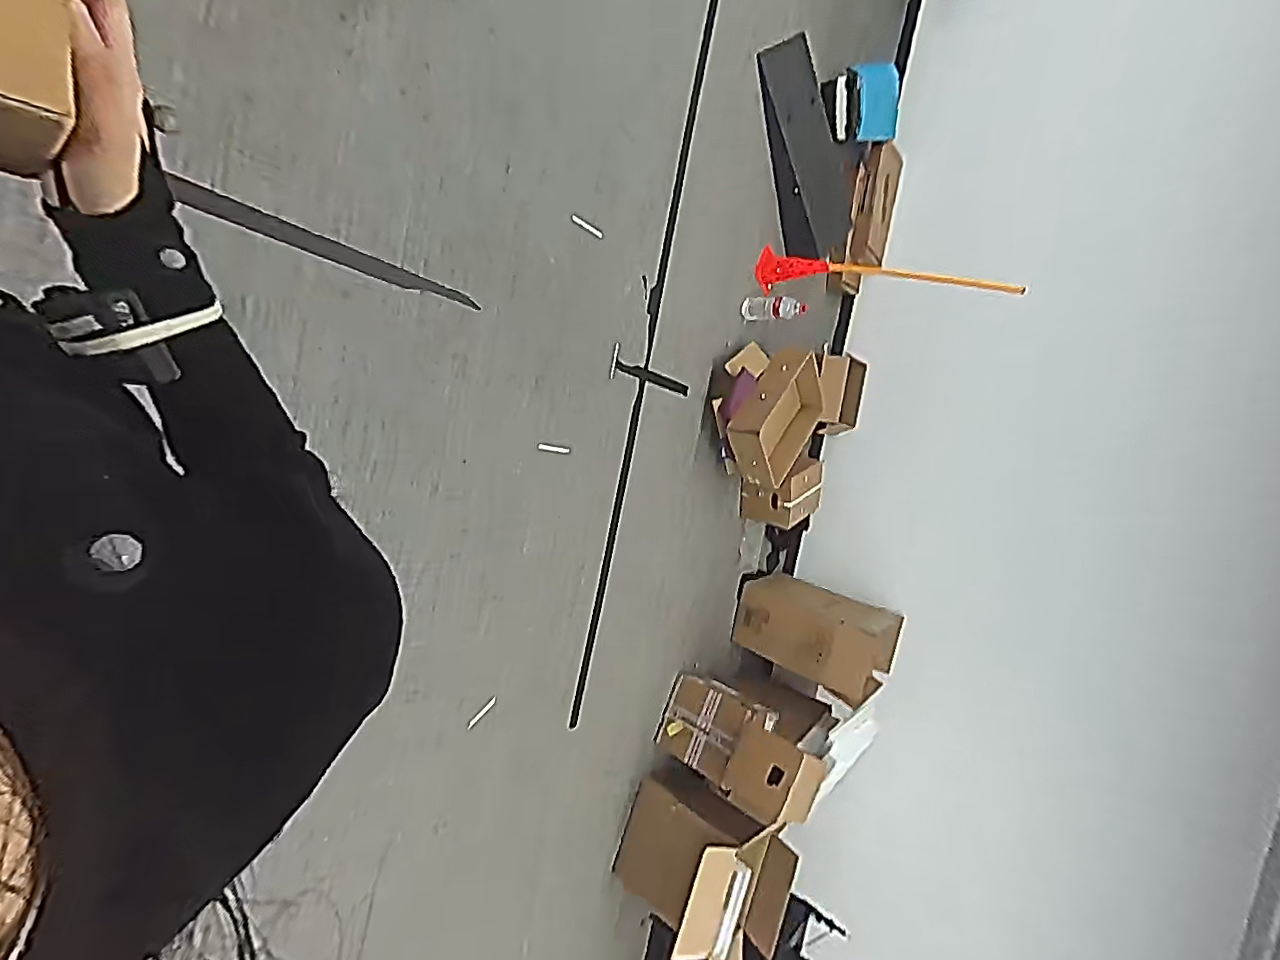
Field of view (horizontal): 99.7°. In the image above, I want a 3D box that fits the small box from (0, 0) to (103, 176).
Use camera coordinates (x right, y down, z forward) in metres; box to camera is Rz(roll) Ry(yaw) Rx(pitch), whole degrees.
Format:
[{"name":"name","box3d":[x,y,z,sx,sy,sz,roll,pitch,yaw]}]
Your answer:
[{"name":"small box","box3d":[-0.338,-0.248,0.209,0.168,0.176,0.179,-5,105,-51]}]
